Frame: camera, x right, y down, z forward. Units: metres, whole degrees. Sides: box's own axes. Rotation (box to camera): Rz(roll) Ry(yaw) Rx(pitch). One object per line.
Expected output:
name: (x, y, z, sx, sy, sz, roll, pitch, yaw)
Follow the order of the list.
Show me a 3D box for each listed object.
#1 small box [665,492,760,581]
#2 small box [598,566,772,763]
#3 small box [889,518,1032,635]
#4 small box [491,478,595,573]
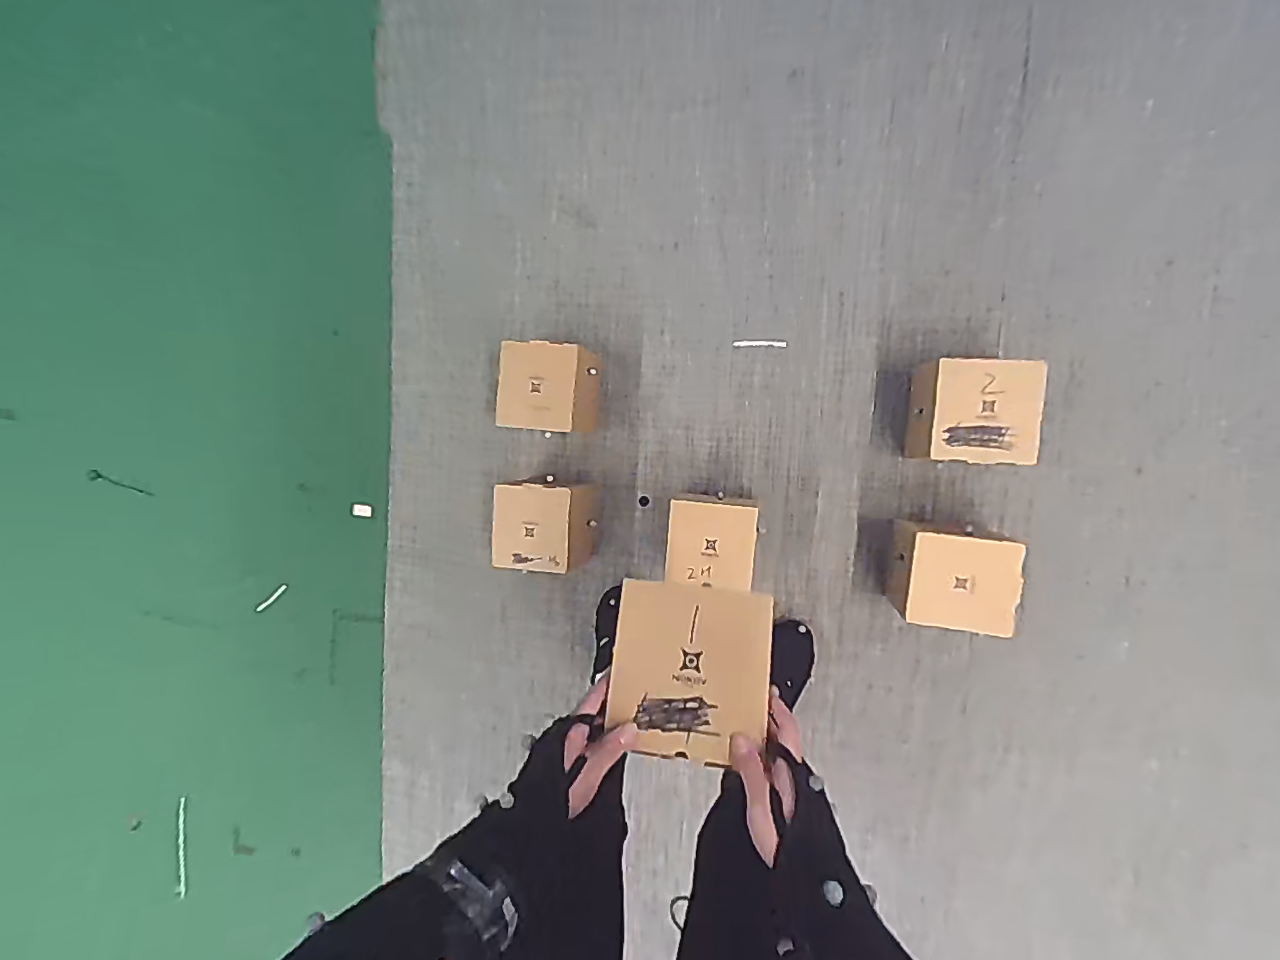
small box: (0.148, 0.119, 1.080, 0.168, 0.176, 0.179, 5, 94, 12)
small box: (0.060, 0.208, 0.632, 0.168, 0.176, 0.179, 5, 73, 10)
small box: (0.571, 0.166, 0.991, 0.179, 0.176, 0.168, 6, 94, 11)
small box: (-0.200, 0.089, 1.155, 0.168, 0.176, 0.179, 4, 93, 13)
